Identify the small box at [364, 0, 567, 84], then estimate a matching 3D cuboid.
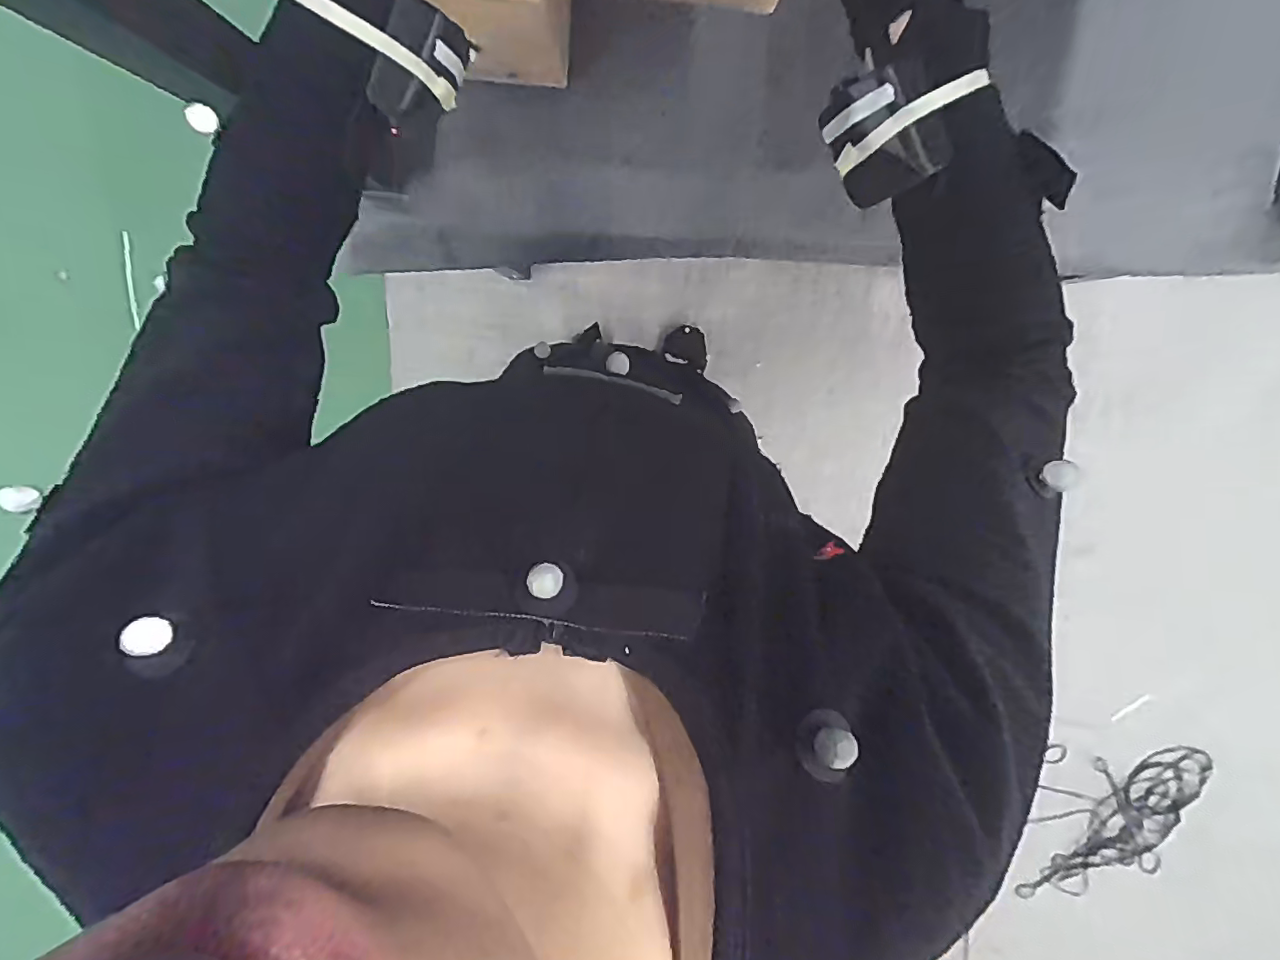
[{"bbox_3d":[-0.160,-0.521,0.523,0.168,0.176,0.179,5,104,-2],"label":"small box"}]
